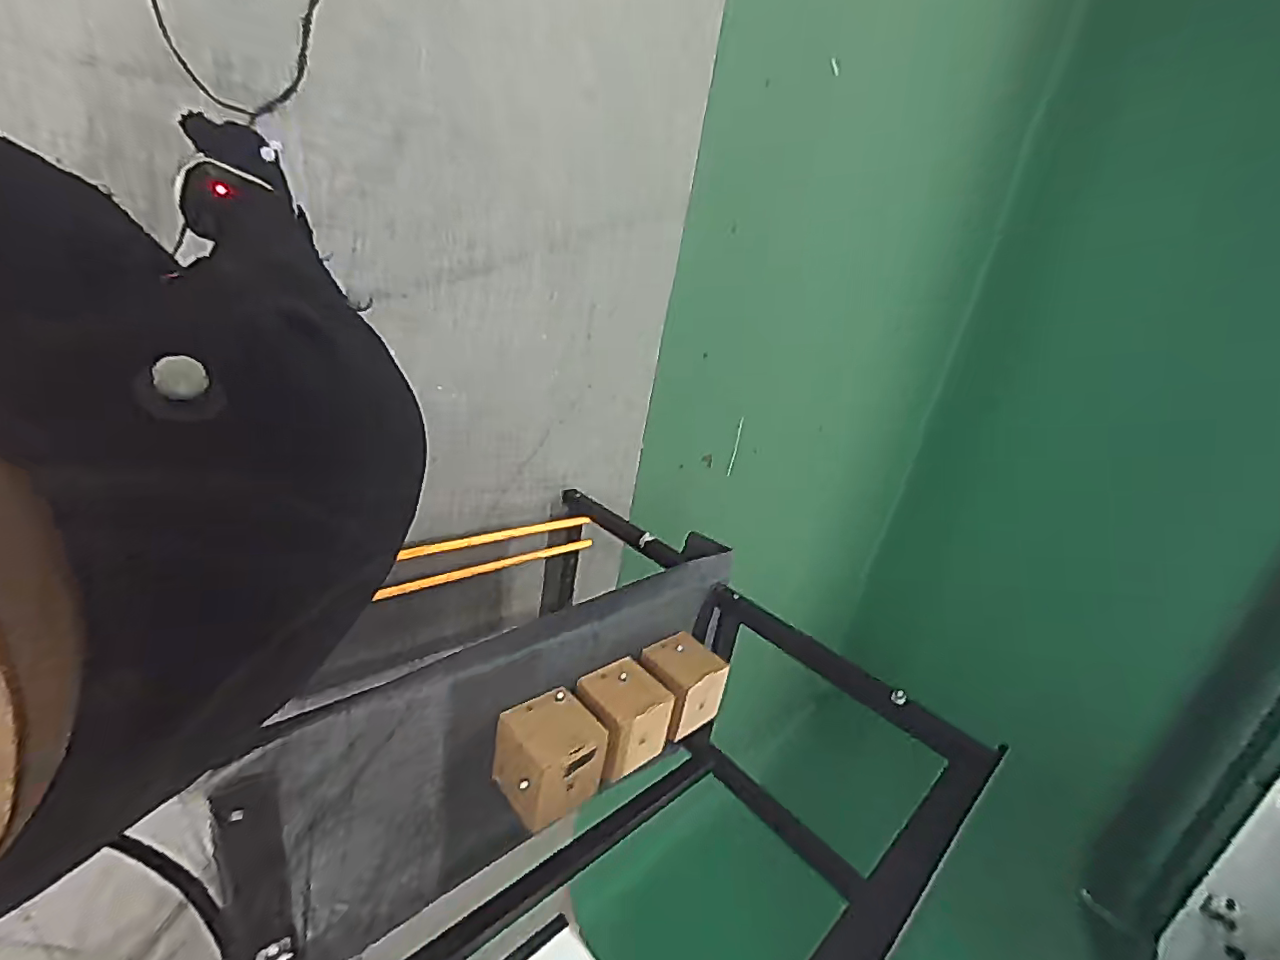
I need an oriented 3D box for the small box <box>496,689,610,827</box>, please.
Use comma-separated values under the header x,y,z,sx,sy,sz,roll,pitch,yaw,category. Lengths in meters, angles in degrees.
x,y,z,sx,sy,sz,roll,pitch,yaw,category
-0.190,0.573,1.147,0.168,0.176,0.179,-8,118,-43,small box
